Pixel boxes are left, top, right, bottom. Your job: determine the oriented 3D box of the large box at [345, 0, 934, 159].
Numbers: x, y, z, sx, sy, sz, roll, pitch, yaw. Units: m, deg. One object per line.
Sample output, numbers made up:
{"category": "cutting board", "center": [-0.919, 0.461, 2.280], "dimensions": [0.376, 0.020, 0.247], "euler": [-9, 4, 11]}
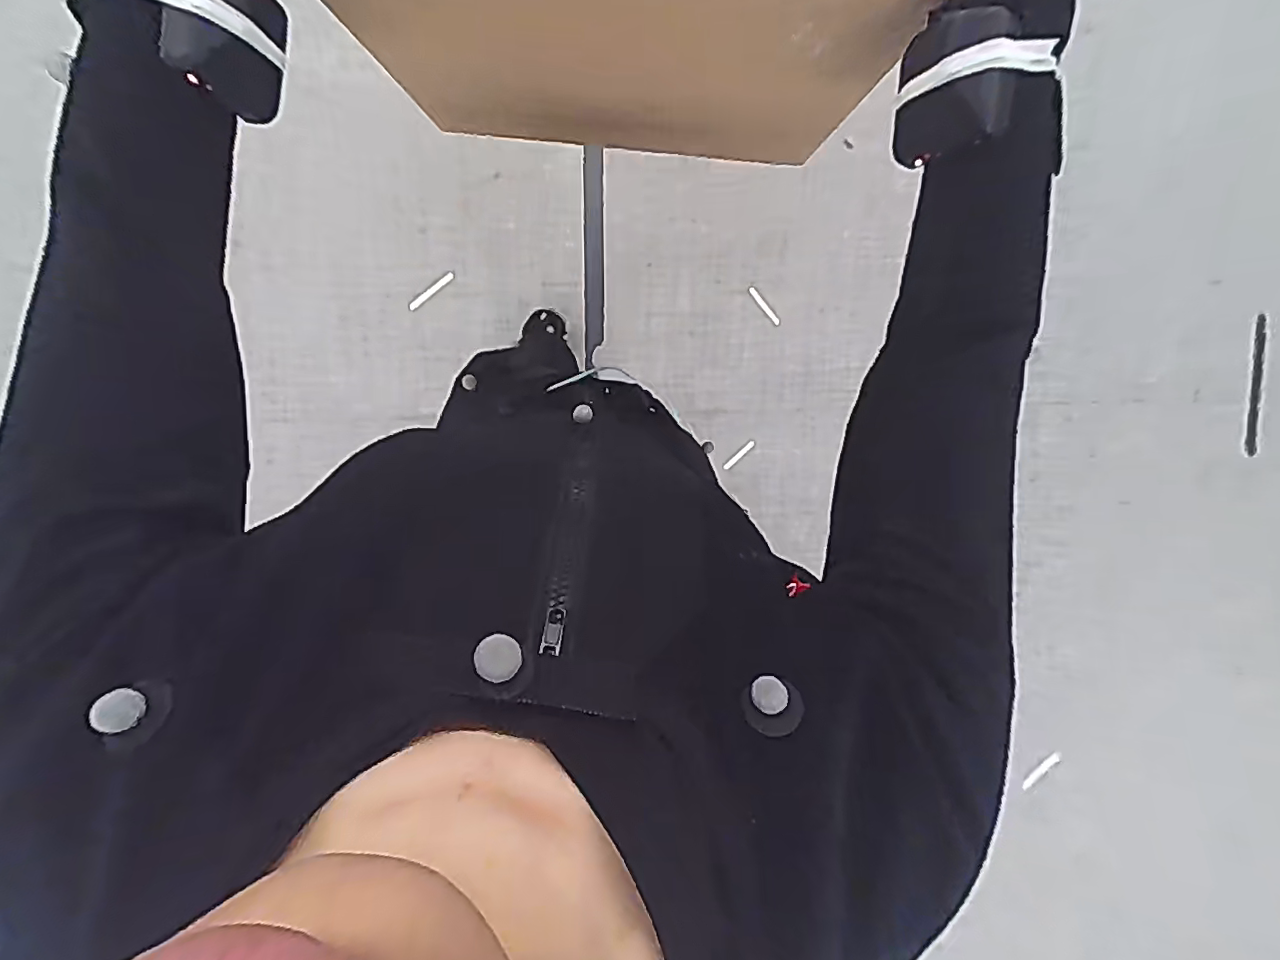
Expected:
{"category": "large box", "center": [-0.005, -0.486, 0.426], "dimensions": [0.408, 0.320, 0.320], "euler": [5, 105, -2]}
